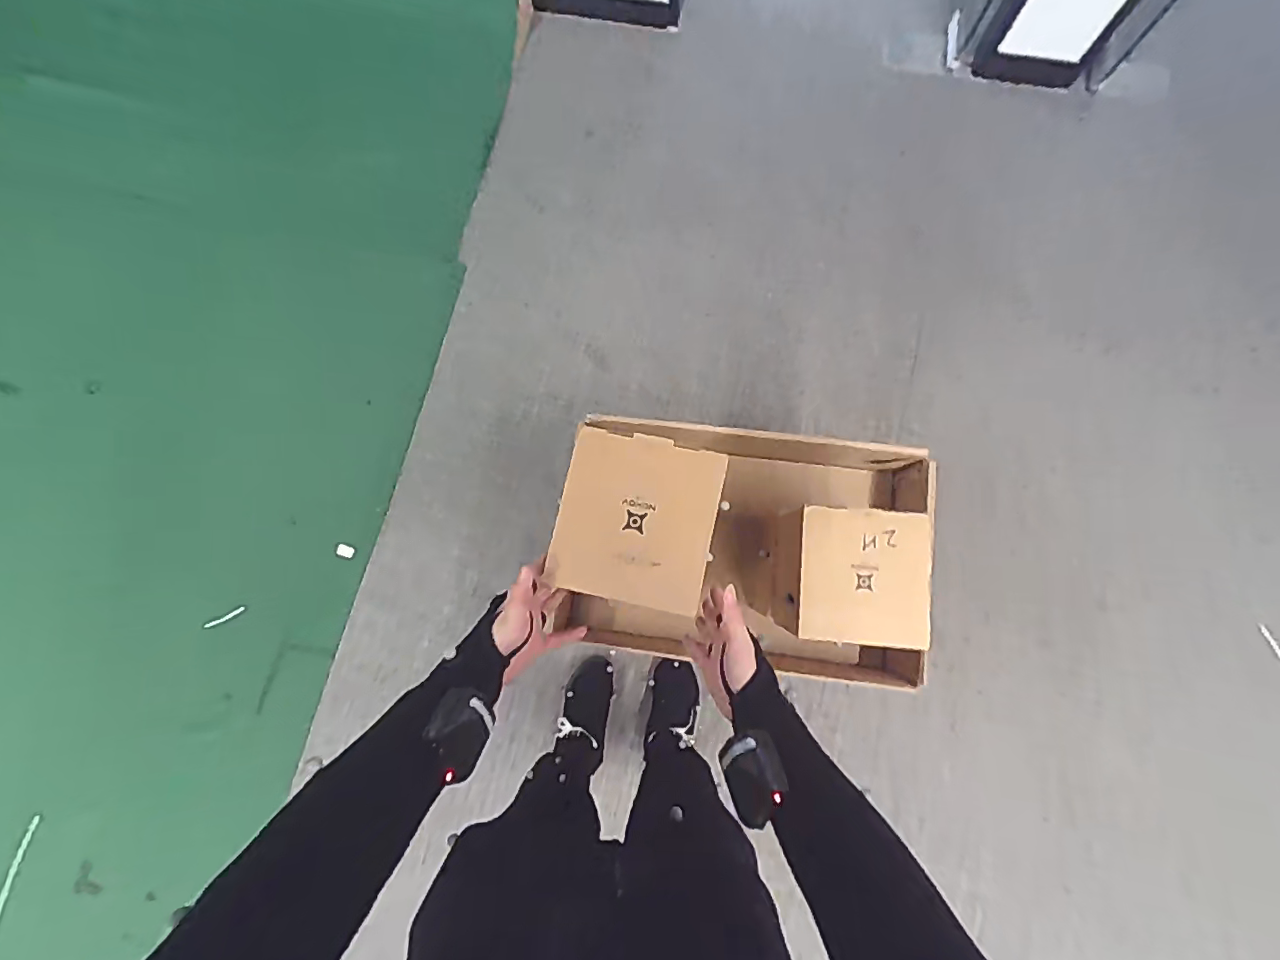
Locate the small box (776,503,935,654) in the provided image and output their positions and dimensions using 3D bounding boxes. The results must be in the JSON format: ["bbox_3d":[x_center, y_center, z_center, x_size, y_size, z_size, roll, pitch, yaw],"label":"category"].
[{"bbox_3d":[0.293,0.135,0.766,0.168,0.176,0.179,5,81,3],"label":"small box"}]

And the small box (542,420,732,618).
[{"bbox_3d":[0.002,0.050,0.633,0.168,0.176,0.179,13,81,6],"label":"small box"}]
